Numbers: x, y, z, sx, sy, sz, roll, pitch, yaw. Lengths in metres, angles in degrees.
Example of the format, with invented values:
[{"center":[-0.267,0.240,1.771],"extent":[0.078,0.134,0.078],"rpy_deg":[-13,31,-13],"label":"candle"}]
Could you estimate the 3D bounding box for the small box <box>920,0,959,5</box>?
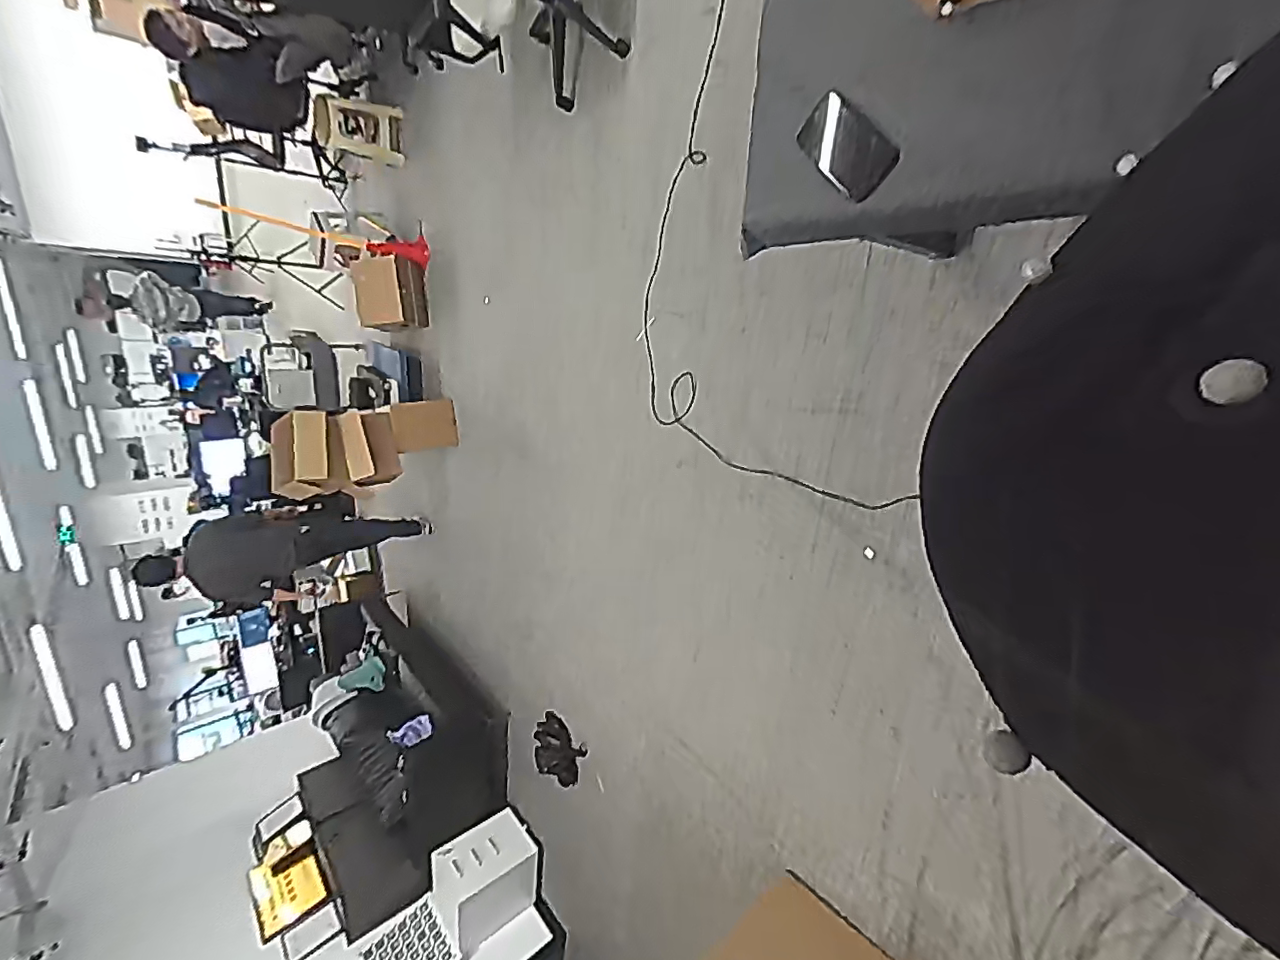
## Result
[{"center":[0.347,-0.612,0.527],"extent":[0.168,0.176,0.179],"rpy_deg":[23,115,43],"label":"small box"}]
